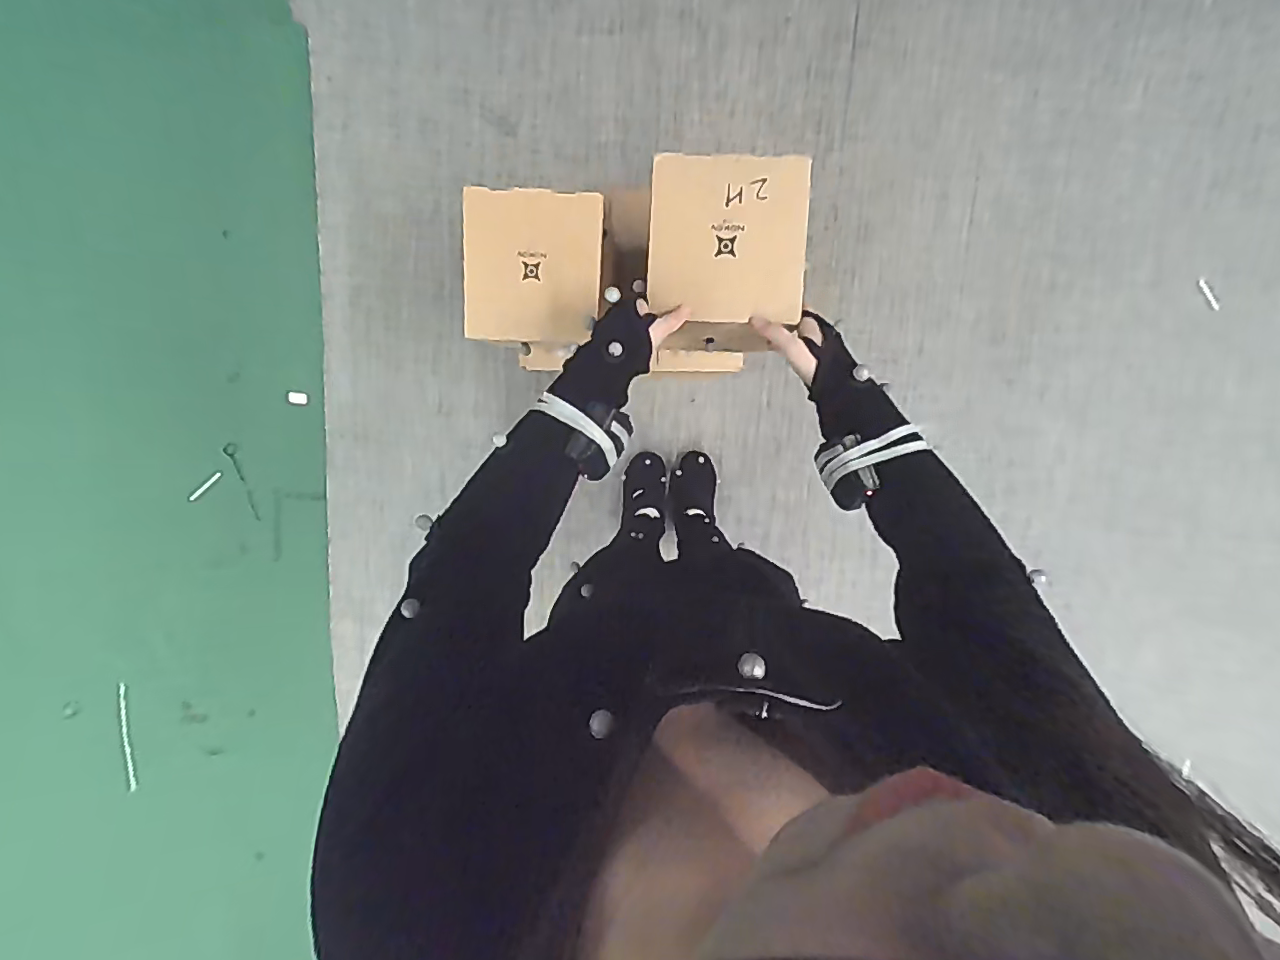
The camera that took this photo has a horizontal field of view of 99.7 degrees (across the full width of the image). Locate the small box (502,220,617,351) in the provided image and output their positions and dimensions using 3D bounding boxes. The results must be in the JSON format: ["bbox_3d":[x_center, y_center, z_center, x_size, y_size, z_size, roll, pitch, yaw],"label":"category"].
[{"bbox_3d":[-0.127,-0.311,0.897,0.168,0.176,0.179,3,101,0],"label":"small box"}]

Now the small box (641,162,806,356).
[{"bbox_3d":[0.093,-0.254,0.662,0.168,0.176,0.179,4,93,2],"label":"small box"}]
